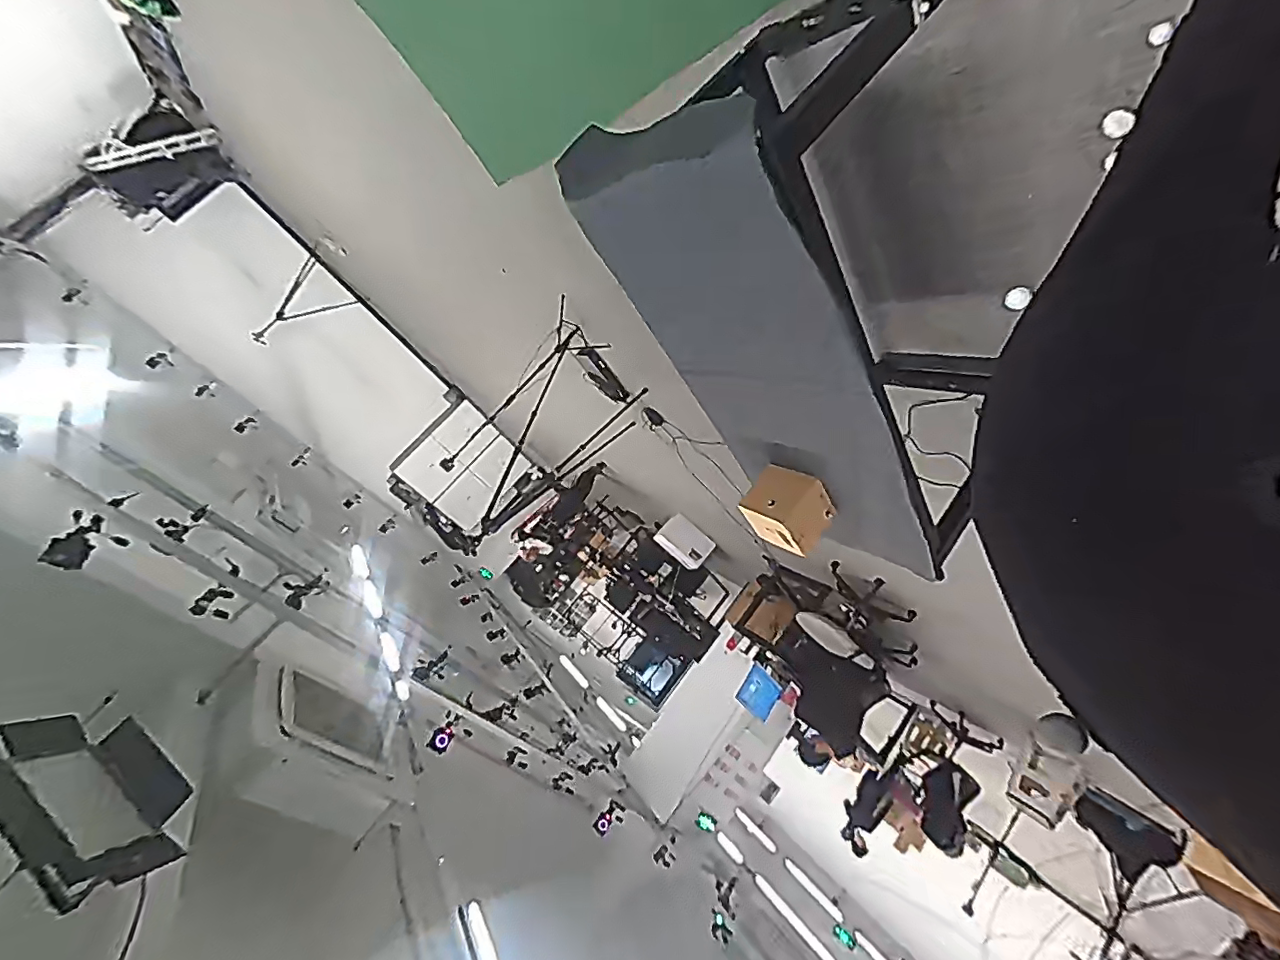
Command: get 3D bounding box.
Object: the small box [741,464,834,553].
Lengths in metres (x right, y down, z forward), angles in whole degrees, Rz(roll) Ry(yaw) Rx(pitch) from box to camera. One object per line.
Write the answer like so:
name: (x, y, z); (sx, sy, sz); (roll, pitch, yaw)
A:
small box: (0.430, 0.076, 1.551); (0.179, 0.176, 0.168); (25, 159, 52)
